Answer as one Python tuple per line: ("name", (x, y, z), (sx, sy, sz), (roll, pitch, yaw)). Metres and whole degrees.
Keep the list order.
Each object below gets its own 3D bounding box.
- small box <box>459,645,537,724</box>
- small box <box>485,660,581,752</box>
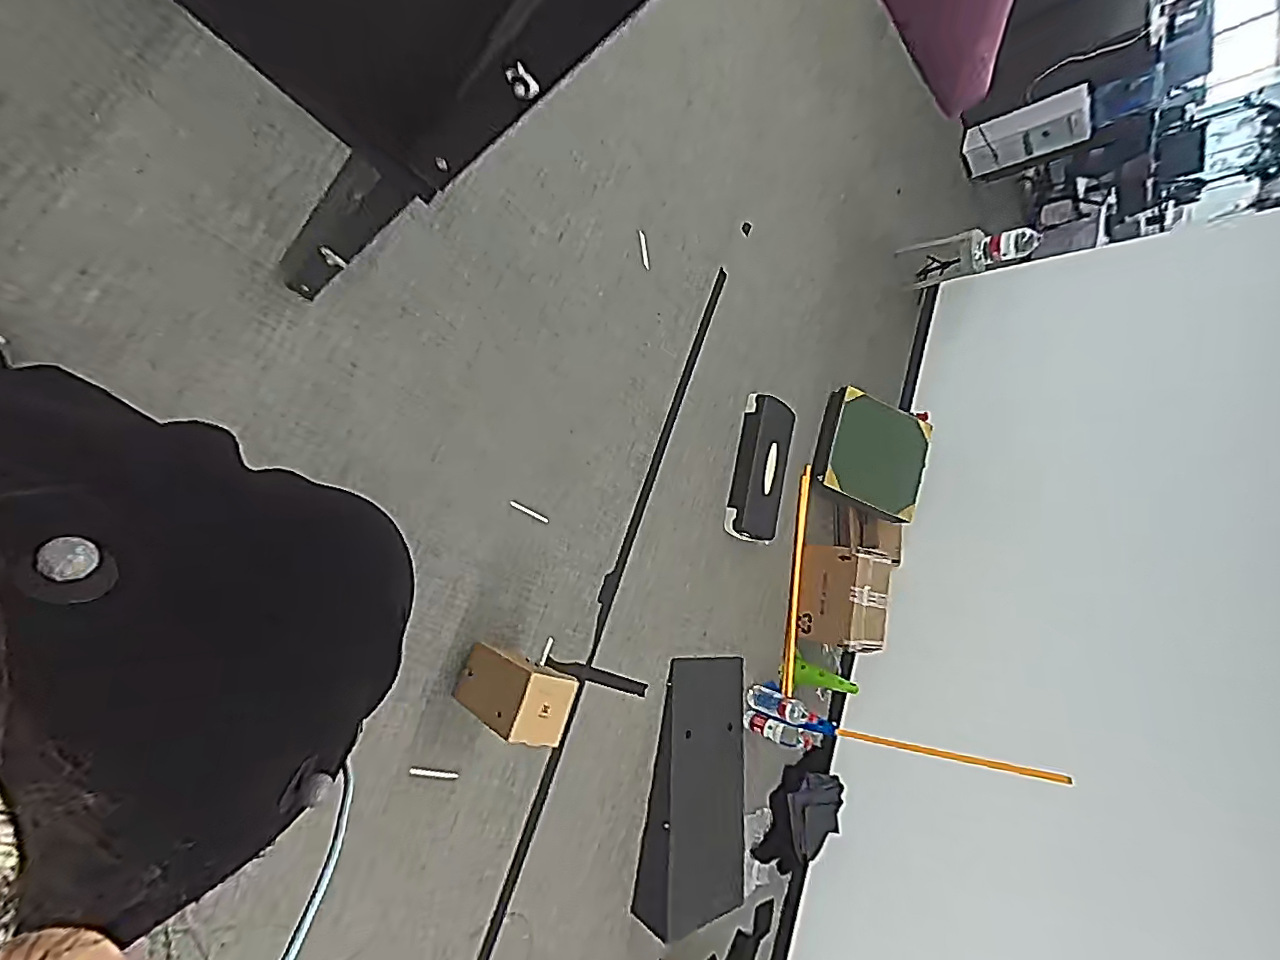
("small box", (-0.406, 0.607, 1.589), (0.168, 0.176, 0.179), (33, 71, -39))
("small box", (-0.297, 0.610, 1.467), (0.168, 0.176, 0.179), (31, 70, -40))
